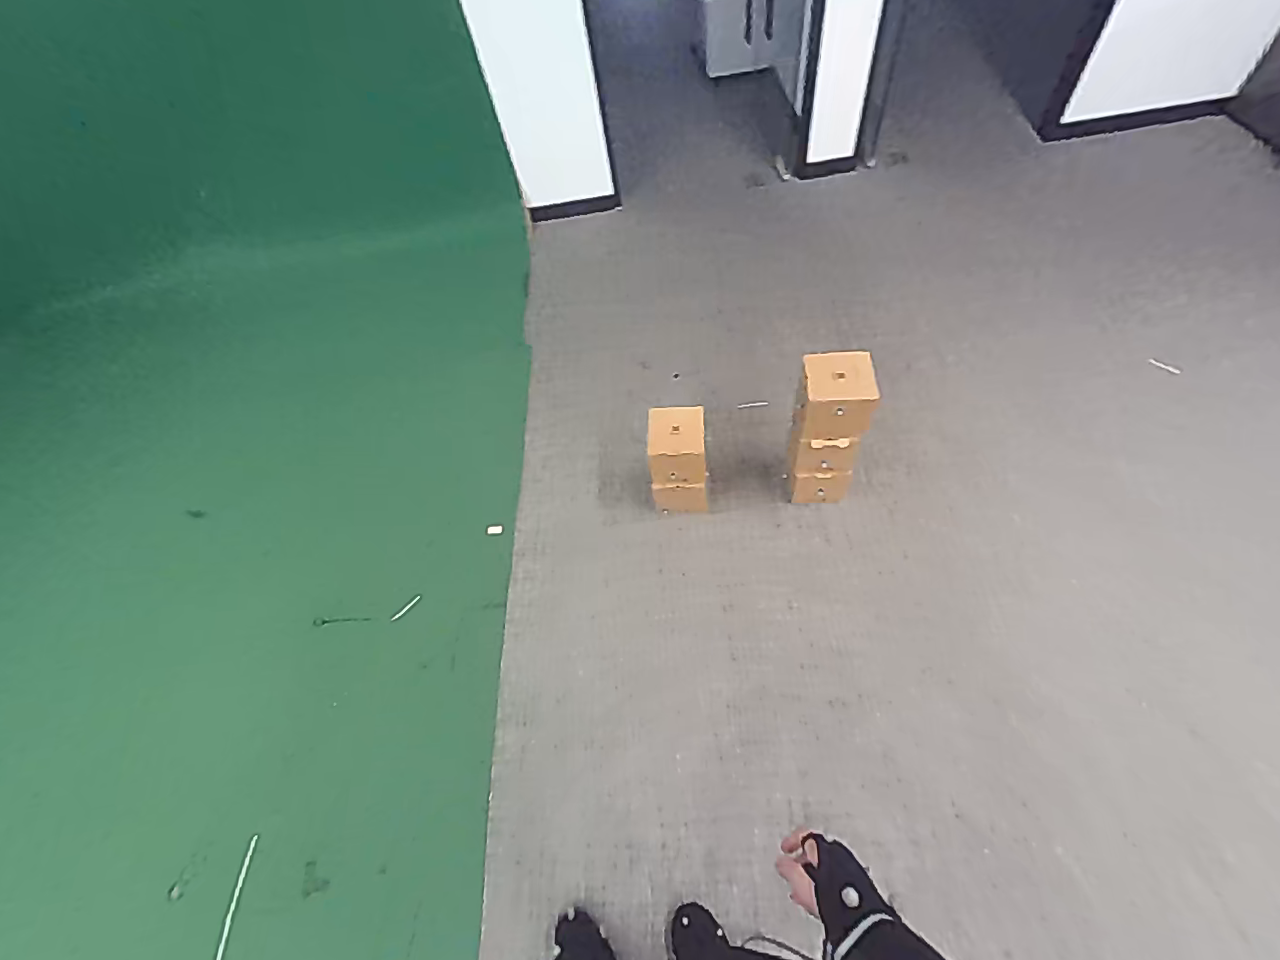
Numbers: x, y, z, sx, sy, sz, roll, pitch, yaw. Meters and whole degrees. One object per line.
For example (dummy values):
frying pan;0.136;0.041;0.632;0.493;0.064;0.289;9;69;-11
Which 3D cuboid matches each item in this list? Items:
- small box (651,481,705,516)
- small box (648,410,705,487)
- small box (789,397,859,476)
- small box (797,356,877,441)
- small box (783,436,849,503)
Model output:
small box;0.131;0.013;1.804;0.168;0.176;0.179;-2;57;7
small box;0.115;-0.095;1.663;0.168;0.176;0.179;-1;58;7
small box;0.543;-0.130;1.619;0.168;0.176;0.179;-1;57;9
small box;0.529;-0.218;1.481;0.179;0.176;0.168;-1;58;8
small box;0.563;-0.033;1.750;0.168;0.176;0.179;-4;58;6
